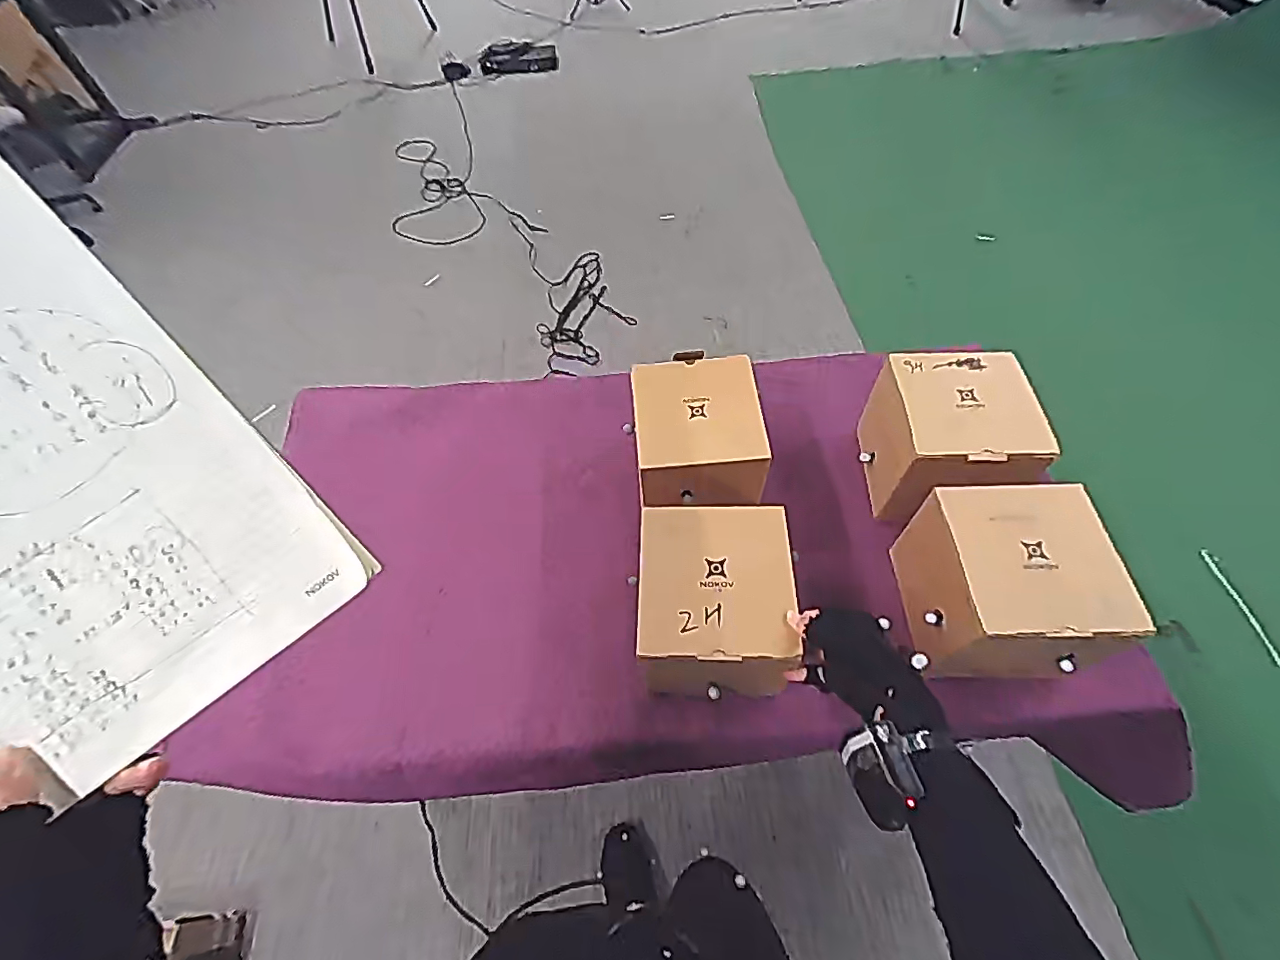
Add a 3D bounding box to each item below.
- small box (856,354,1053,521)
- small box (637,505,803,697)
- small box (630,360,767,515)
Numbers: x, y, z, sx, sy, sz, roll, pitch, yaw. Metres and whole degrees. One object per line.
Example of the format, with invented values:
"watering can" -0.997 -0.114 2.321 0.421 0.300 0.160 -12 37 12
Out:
"small box" 0.417 -0.054 0.755 0.168 0.176 0.179 1 58 4
"small box" 0.086 0.146 0.644 0.168 0.176 0.179 -1 56 5
"small box" 0.077 -0.045 0.775 0.168 0.176 0.179 -5 56 1
